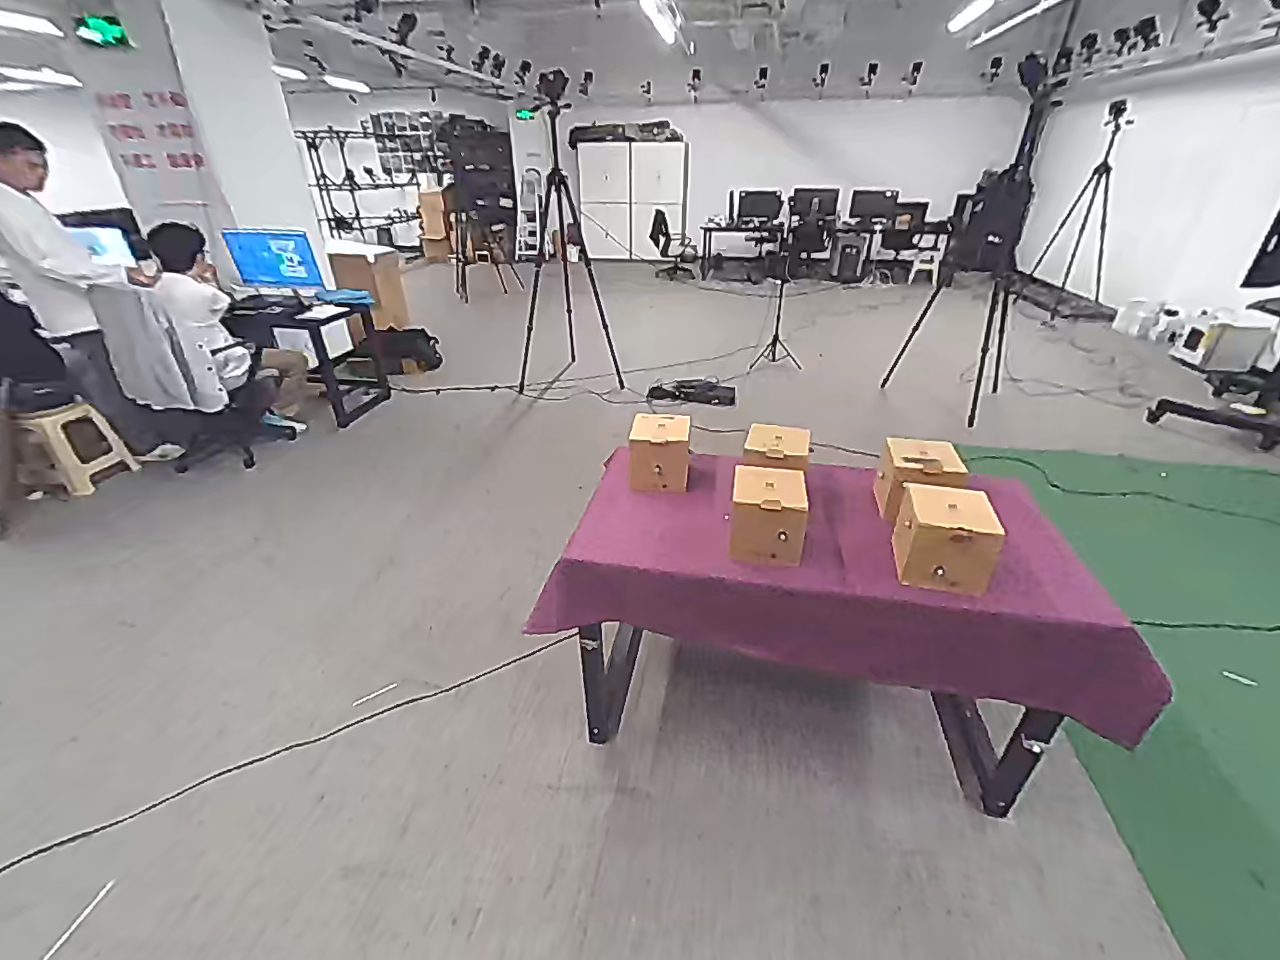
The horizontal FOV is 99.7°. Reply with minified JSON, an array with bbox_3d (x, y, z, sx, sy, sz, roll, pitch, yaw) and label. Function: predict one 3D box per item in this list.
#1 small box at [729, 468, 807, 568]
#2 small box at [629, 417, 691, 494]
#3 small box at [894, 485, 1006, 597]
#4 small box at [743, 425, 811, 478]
[{"bbox_3d":[0.304,0.090,1.299,0.168,0.176,0.179,6,30,10],"label":"small box"},{"bbox_3d":[0.062,-0.072,1.583,0.168,0.176,0.179,4,31,6],"label":"small box"},{"bbox_3d":[0.682,0.133,1.212,0.168,0.176,0.179,8,31,14],"label":"small box"},{"bbox_3d":[0.378,-0.035,1.511,0.168,0.176,0.179,8,32,16],"label":"small box"}]
